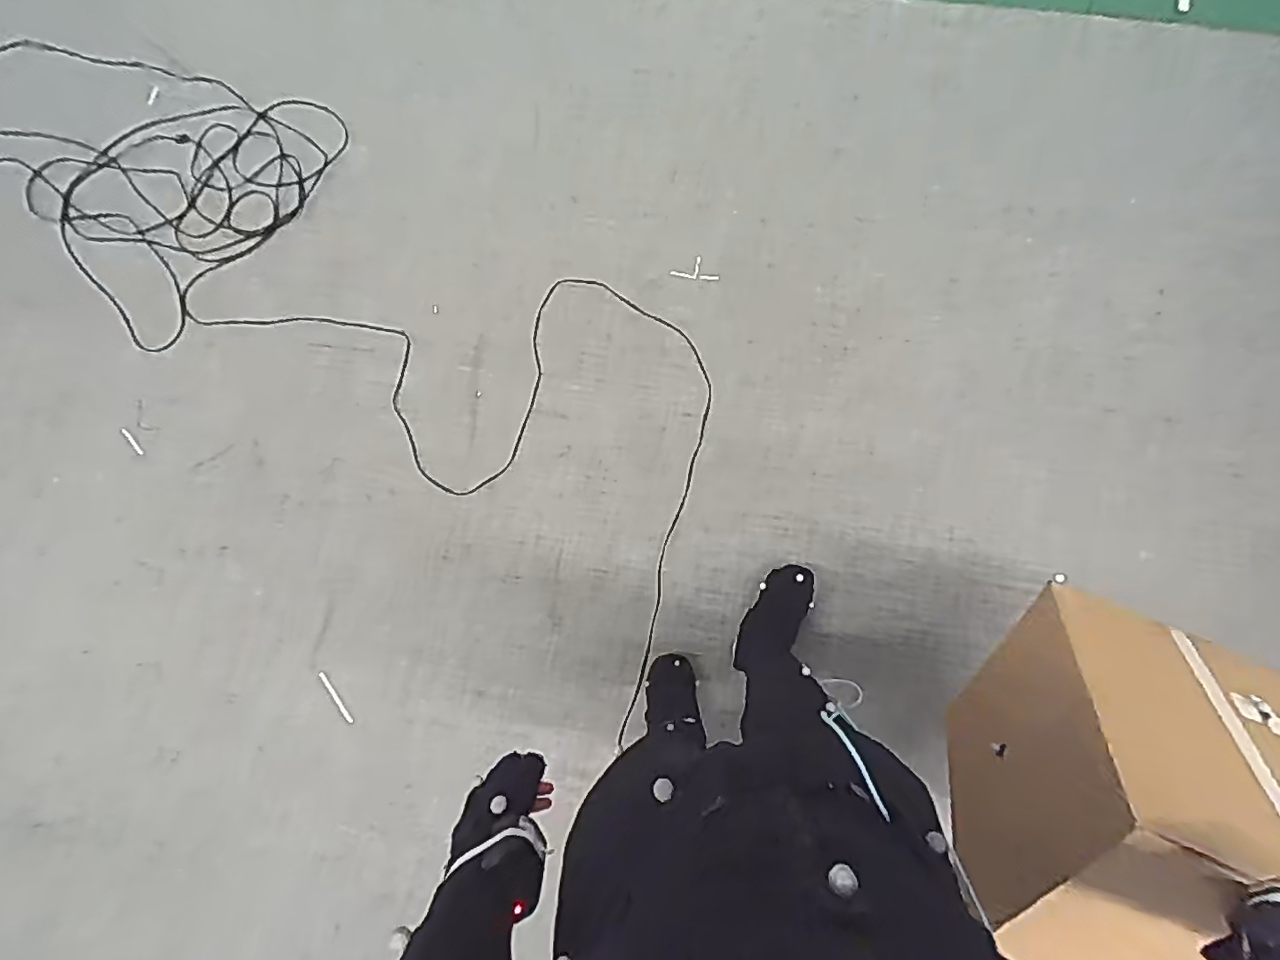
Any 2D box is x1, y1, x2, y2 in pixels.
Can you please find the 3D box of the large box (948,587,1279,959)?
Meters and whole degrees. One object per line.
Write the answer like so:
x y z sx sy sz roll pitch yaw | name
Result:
0.627 0.418 0.682 0.320 0.408 0.320 24 121 15 | large box
